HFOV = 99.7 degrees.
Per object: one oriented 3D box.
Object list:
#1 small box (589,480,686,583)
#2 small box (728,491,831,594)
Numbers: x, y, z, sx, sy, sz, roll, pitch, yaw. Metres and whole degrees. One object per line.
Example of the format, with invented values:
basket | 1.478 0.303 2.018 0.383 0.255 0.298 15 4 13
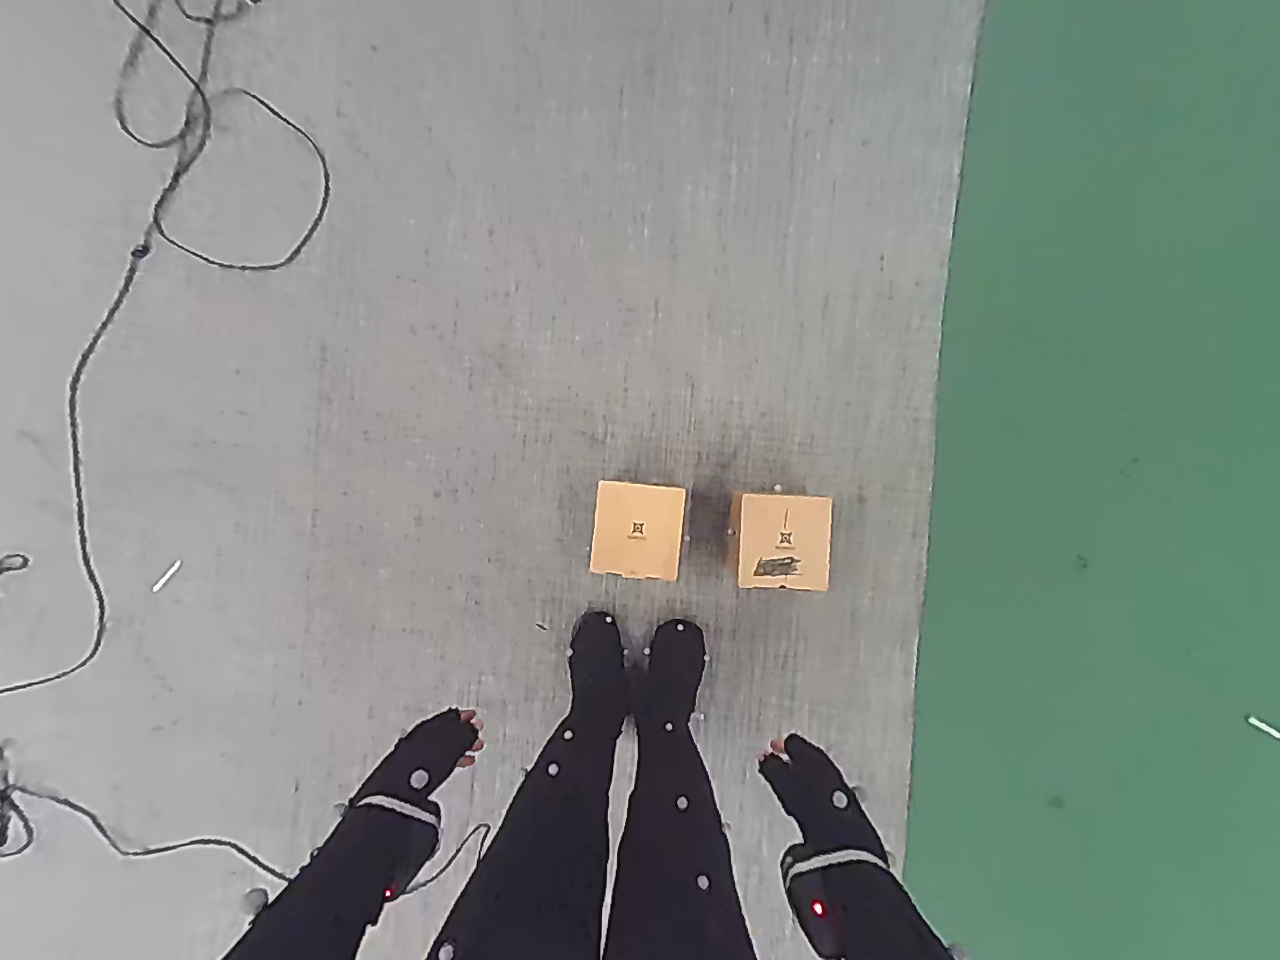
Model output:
small box | -0.002 0.095 1.077 0.168 0.176 0.179 6 91 3
small box | 0.266 0.115 1.062 0.168 0.176 0.179 3 90 3
